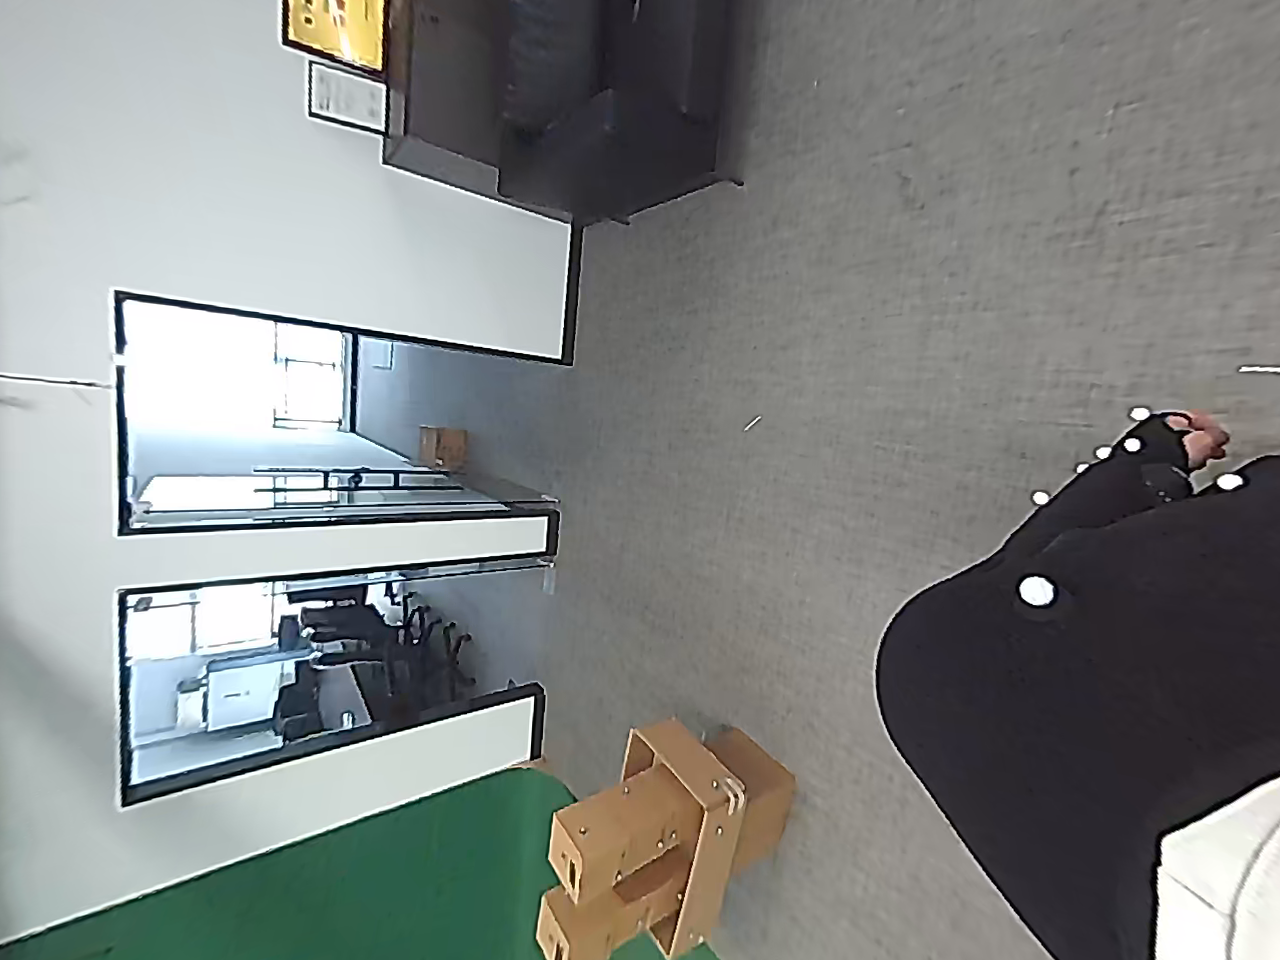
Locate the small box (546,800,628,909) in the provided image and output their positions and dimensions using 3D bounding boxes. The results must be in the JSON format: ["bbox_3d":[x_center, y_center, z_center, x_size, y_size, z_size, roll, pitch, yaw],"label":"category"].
[{"bbox_3d":[-0.155,1.088,1.591,0.179,0.176,0.168,22,108,50],"label":"small box"}]

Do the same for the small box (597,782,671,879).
[{"bbox_3d":[-0.030,1.085,1.696,0.179,0.176,0.168,22,108,49],"label":"small box"}]

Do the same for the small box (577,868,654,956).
[{"bbox_3d":[-0.080,1.371,1.762,0.179,0.176,0.168,26,110,48],"label":"small box"}]

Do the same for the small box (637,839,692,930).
[{"bbox_3d":[0.049,1.371,1.859,0.179,0.176,0.168,26,111,49],"label":"small box"}]
